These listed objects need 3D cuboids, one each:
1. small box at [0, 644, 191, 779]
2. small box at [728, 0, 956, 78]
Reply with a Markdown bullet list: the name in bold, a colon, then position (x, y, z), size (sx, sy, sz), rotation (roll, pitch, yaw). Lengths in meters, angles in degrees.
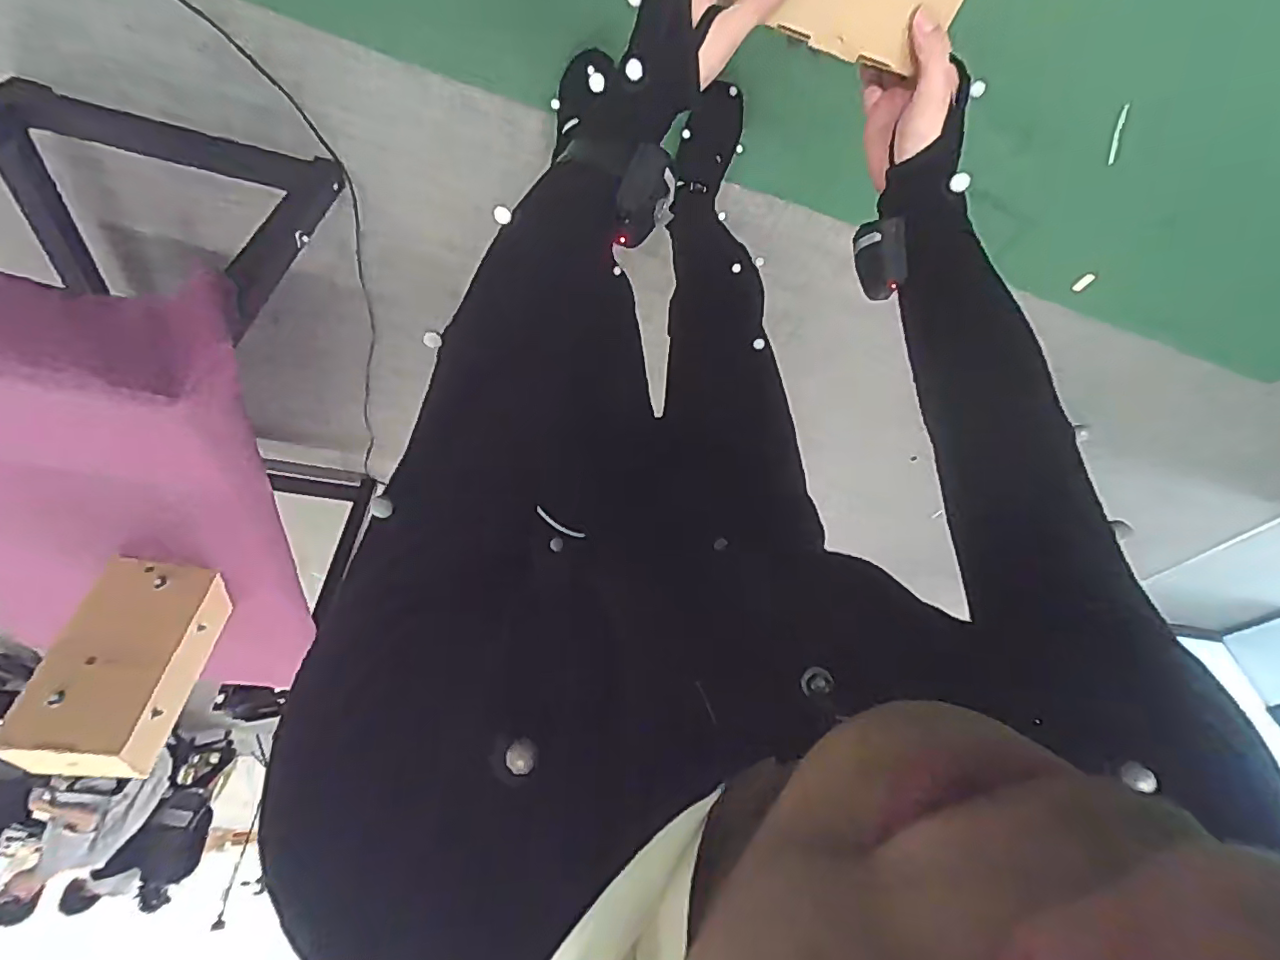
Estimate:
- **small box**: position (-0.913, 0.395, 0.920), size (0.168, 0.176, 0.179), rotation (14, 138, -17)
- **small box**: position (0.167, -0.460, 0.418), size (0.168, 0.176, 0.179), rotation (6, 139, -15)
